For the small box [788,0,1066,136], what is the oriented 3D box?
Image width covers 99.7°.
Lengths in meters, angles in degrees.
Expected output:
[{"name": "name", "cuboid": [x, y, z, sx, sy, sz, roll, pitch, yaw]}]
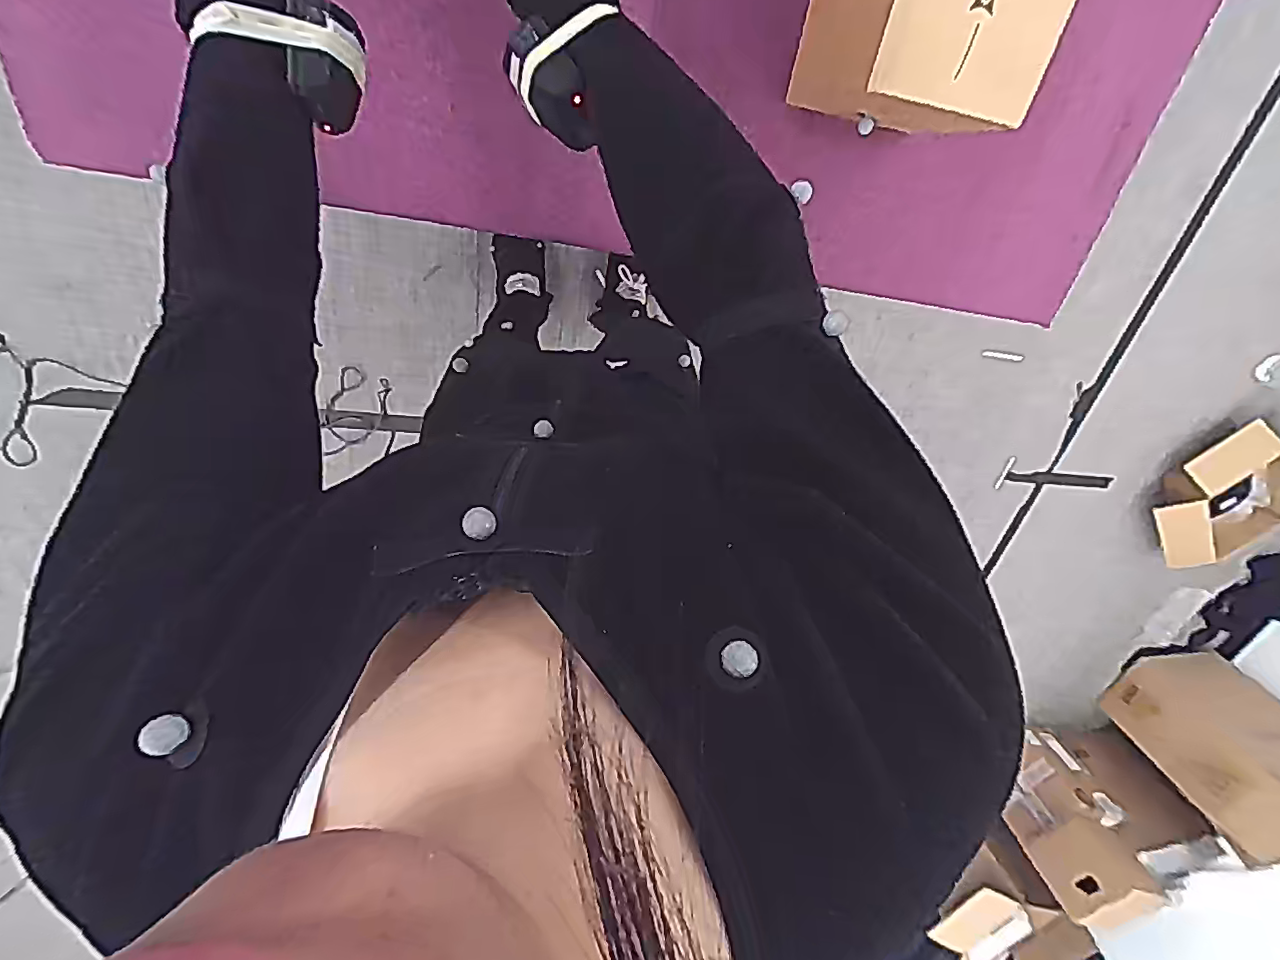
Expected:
[{"name": "small box", "cuboid": [0.263, -0.443, 0.509, 0.168, 0.176, 0.179, 3, 120, -15]}]
